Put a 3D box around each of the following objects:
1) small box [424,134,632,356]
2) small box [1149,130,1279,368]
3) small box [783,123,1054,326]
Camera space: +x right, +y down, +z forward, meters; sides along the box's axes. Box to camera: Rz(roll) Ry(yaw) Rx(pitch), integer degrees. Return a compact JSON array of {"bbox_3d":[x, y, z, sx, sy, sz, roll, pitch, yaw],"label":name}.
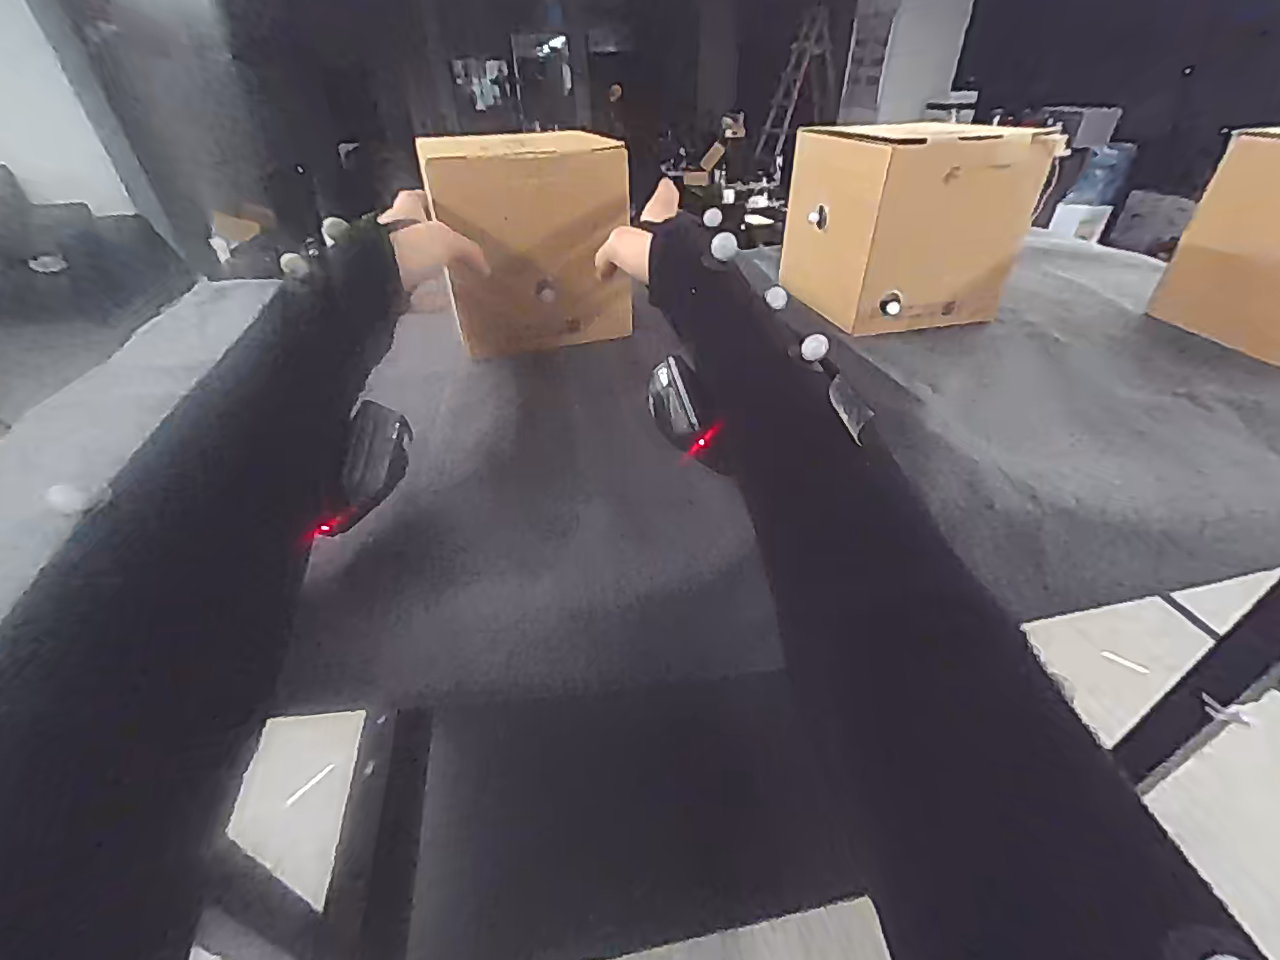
[{"bbox_3d":[-0.112,-0.242,0.547,0.168,0.176,0.179,-13,40,-15],"label":"small box"},{"bbox_3d":[0.621,-0.201,0.471,0.168,0.176,0.179,-5,37,-4],"label":"small box"},{"bbox_3d":[0.269,-0.269,0.573,0.168,0.176,0.179,-9,37,-10],"label":"small box"}]
